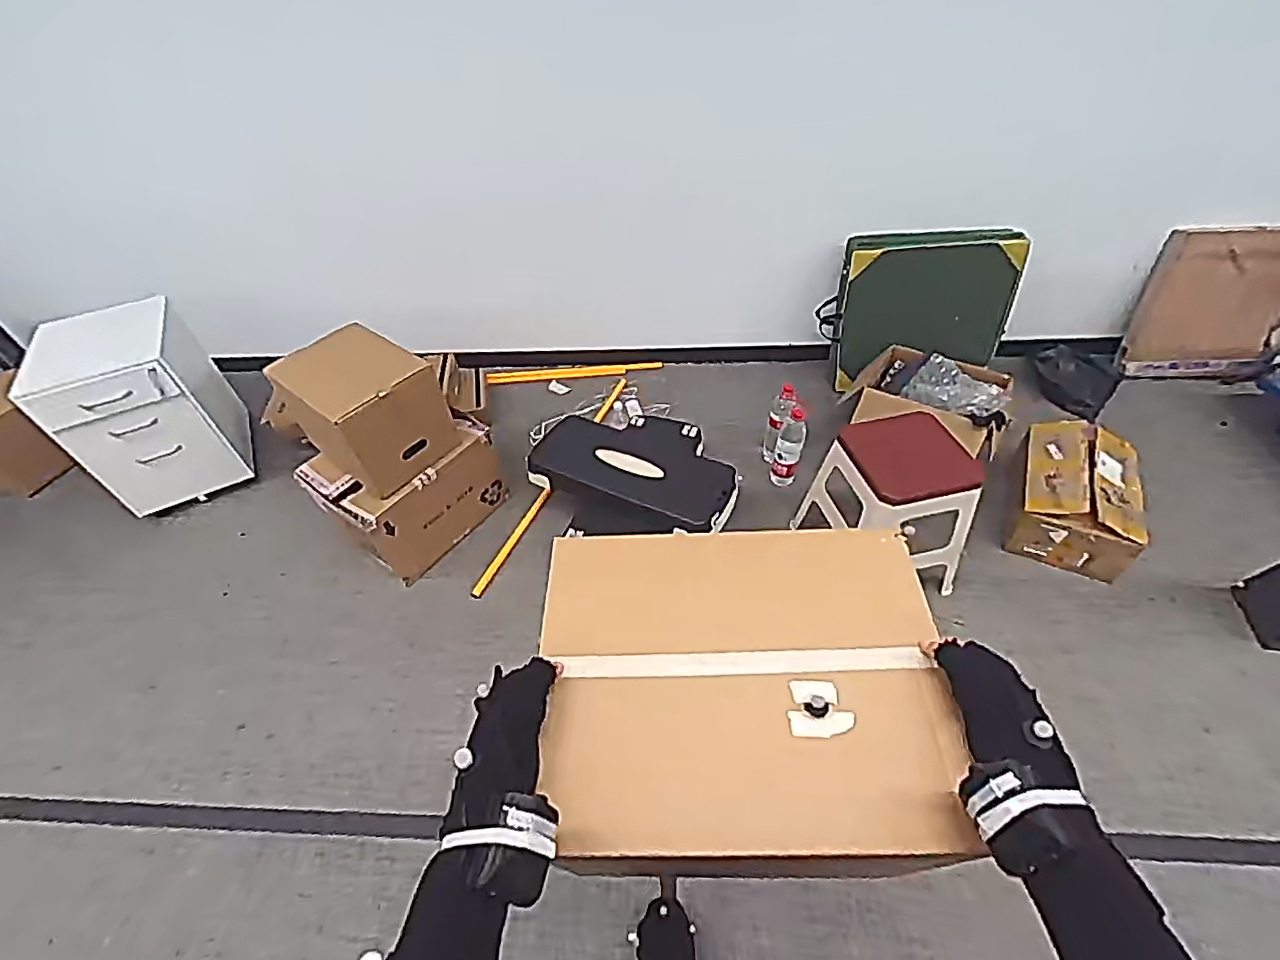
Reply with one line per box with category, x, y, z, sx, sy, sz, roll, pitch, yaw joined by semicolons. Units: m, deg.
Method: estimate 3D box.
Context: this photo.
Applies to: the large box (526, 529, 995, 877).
large box;0.103;0.279;0.661;0.408;0.320;0.320;-2;51;3
